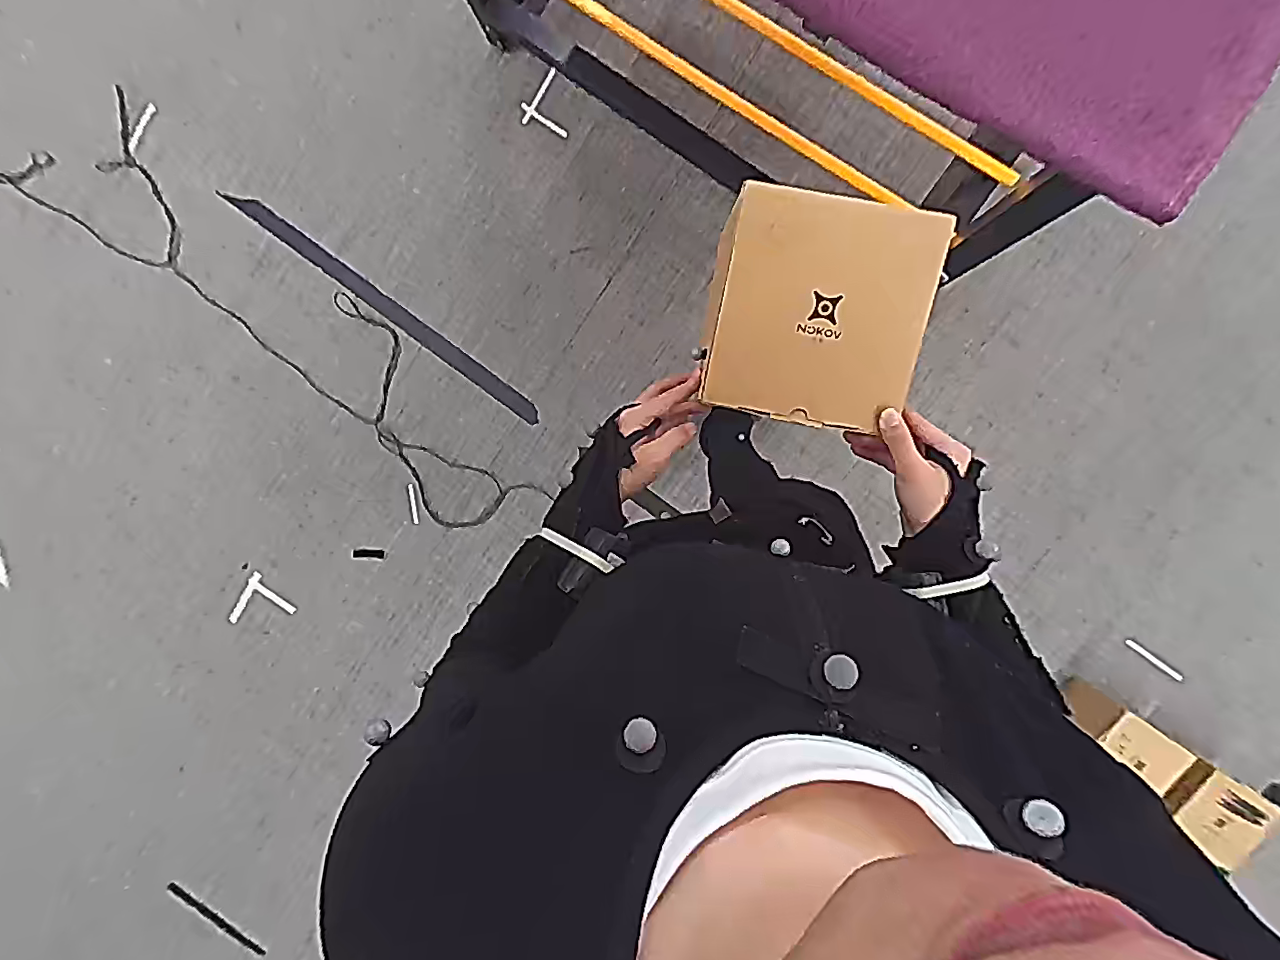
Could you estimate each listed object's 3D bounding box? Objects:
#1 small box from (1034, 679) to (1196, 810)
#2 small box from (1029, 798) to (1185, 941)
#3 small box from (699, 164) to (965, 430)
[{"bbox_3d":[1.066,0.589,1.231,0.179,0.176,0.168,35,98,2],"label":"small box"},{"bbox_3d":[1.076,0.896,1.262,0.179,0.176,0.168,38,99,2],"label":"small box"},{"bbox_3d":[0.152,-0.155,0.499,0.168,0.176,0.179,11,103,0],"label":"small box"}]
